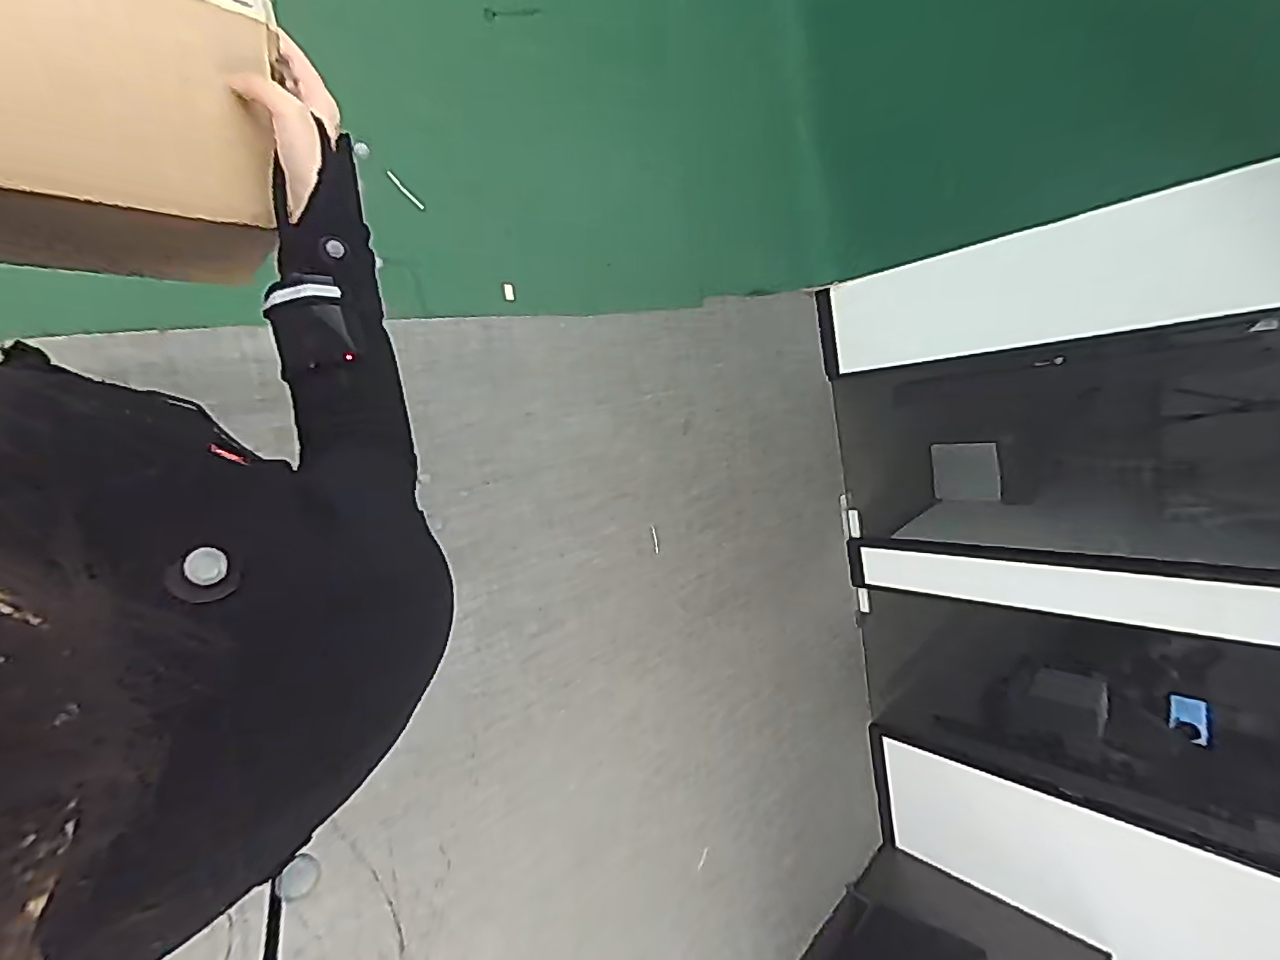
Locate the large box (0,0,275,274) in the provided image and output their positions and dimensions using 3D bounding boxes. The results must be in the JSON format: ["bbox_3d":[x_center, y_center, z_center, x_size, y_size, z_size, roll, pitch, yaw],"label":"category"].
[{"bbox_3d":[-0.545,-0.352,0.401,0.408,0.320,0.320,-9,102,-39],"label":"large box"}]
